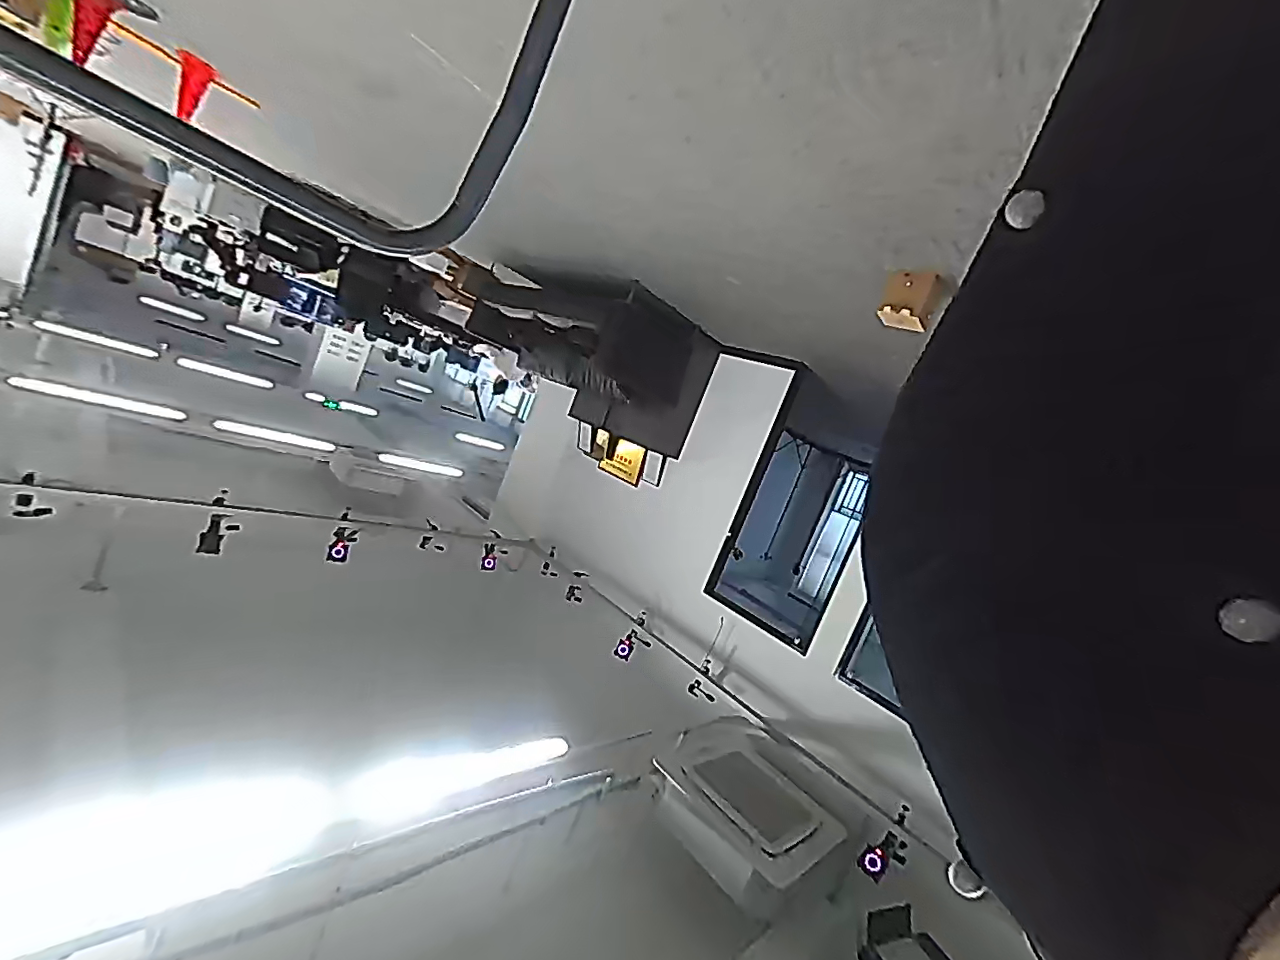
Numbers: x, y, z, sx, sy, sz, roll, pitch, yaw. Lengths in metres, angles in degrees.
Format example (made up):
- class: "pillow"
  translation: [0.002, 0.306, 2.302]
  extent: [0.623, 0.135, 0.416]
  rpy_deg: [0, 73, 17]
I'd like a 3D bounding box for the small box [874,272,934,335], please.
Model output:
- class: "small box"
  translation: [1.054, -0.703, 2.153]
  extent: [0.168, 0.176, 0.179]
  rpy_deg: [23, -176, 29]
